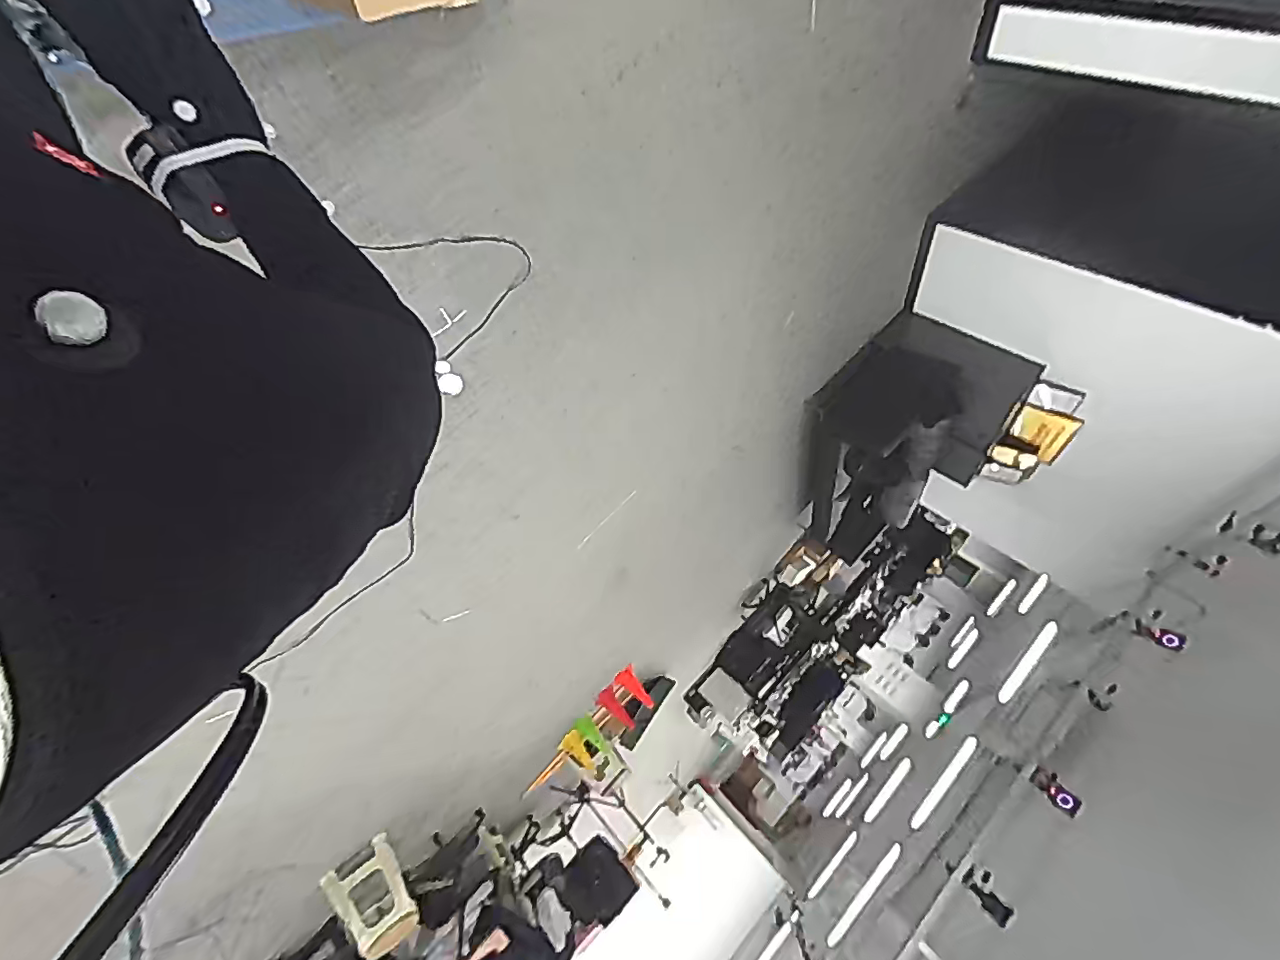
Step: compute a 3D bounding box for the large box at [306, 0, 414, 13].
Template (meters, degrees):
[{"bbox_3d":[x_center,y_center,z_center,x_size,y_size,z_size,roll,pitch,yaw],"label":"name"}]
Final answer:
[{"bbox_3d":[-0.387,-0.924,0.719,0.320,0.320,0.408,-37,146,-23],"label":"large box"}]
